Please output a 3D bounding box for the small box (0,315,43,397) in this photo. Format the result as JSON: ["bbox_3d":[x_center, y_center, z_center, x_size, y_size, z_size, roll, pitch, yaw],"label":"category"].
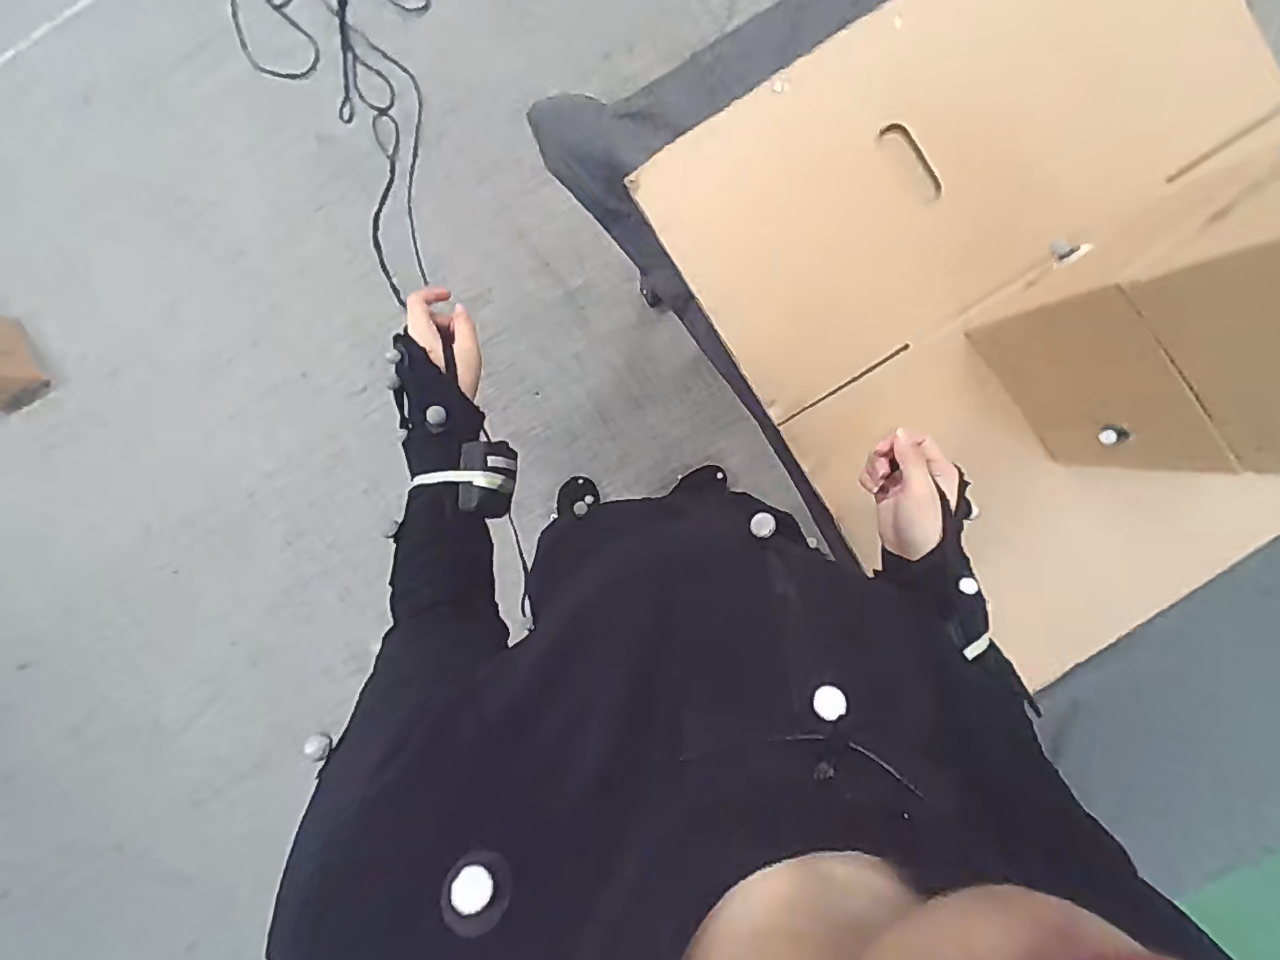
[{"bbox_3d":[-1.621,-0.299,1.296,0.168,0.176,0.179,-27,95,3],"label":"small box"}]

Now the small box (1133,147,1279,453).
[{"bbox_3d":[0.451,-0.118,0.298,0.168,0.176,0.179,-40,95,0],"label":"small box"}]

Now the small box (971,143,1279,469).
[{"bbox_3d":[0.440,-0.129,0.462,0.168,0.176,0.179,-40,94,0],"label":"small box"}]
